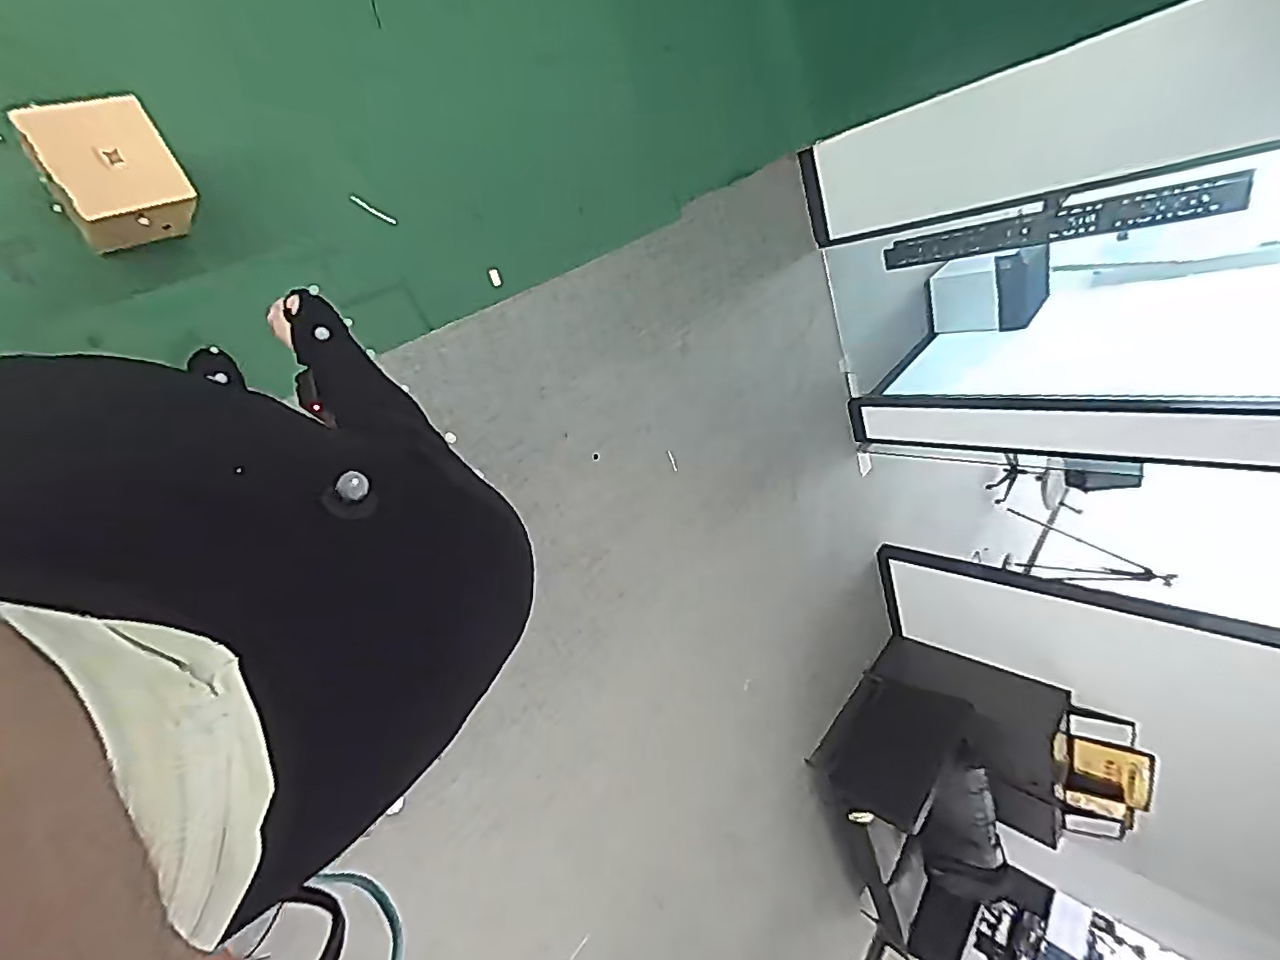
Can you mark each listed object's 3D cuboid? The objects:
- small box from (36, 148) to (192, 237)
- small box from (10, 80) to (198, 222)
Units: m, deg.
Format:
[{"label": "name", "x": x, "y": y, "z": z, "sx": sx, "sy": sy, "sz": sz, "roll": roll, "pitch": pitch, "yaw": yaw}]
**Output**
[{"label": "small box", "x": -1.056, "y": -0.608, "z": 1.088, "sx": 0.179, "sy": 0.176, "sz": 0.168, "roll": -37, "pitch": 121, "yaw": -32}, {"label": "small box", "x": -0.946, "y": -0.583, "z": 0.970, "sx": 0.179, "sy": 0.176, "sz": 0.168, "roll": -37, "pitch": 121, "yaw": -31}]
